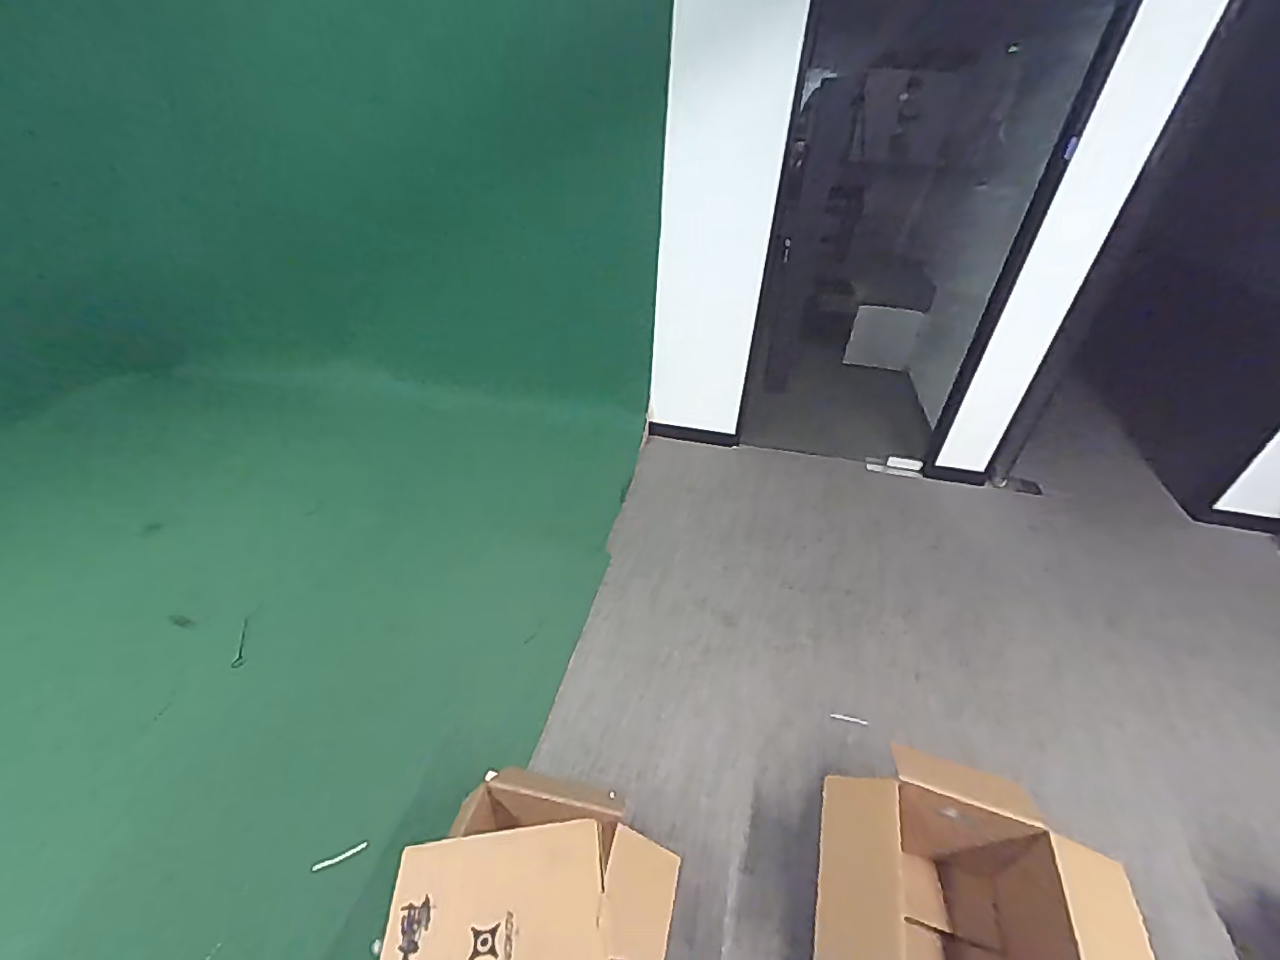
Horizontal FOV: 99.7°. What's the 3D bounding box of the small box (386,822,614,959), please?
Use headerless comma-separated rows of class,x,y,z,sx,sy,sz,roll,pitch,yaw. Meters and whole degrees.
small box,-0.112,0.431,0.466,0.179,0.176,0.168,-2,29,-7
